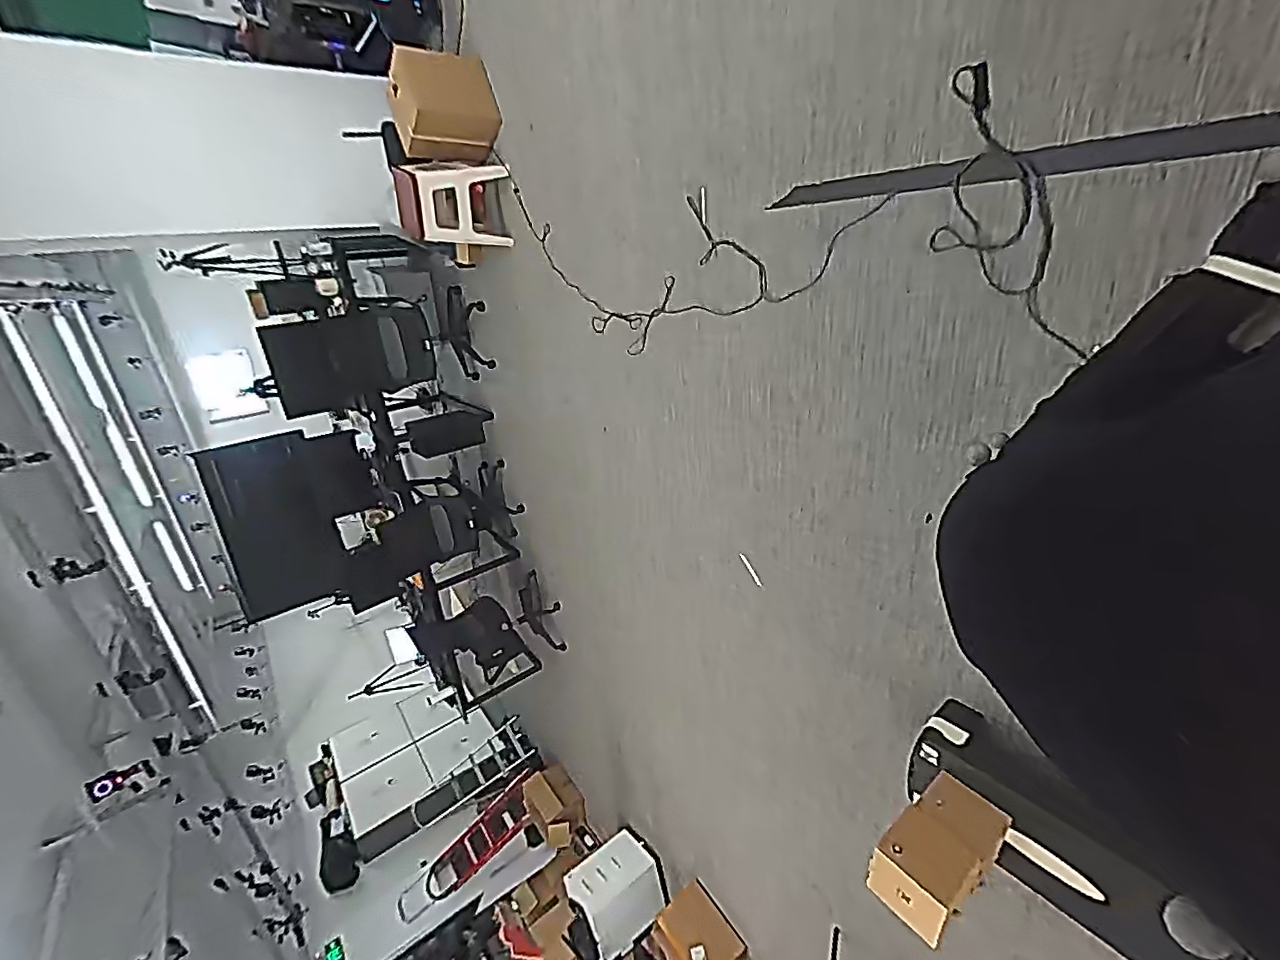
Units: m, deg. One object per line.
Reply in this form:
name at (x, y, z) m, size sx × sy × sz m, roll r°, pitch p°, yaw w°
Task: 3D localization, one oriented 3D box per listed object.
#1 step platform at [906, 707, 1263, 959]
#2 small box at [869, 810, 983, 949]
step platform at (1.047, 0.908, 1.374) m, size 0.684 × 0.204 × 0.286 m, roll 23°, pitch 126°, yaw 48°
small box at (0.687, 0.948, 1.300) m, size 0.179 × 0.176 × 0.168 m, roll 28°, pitch 129°, yaw 47°
